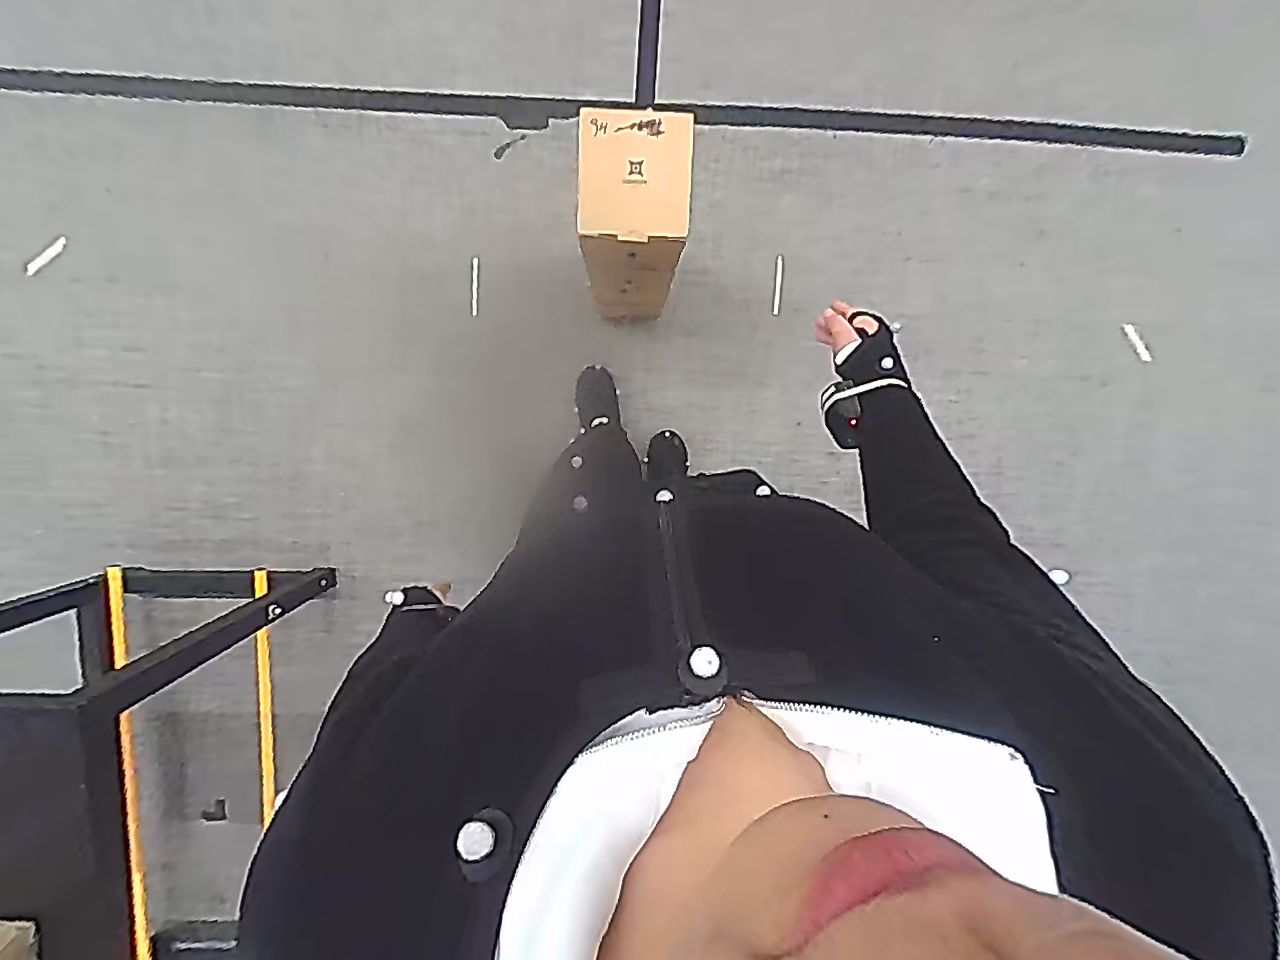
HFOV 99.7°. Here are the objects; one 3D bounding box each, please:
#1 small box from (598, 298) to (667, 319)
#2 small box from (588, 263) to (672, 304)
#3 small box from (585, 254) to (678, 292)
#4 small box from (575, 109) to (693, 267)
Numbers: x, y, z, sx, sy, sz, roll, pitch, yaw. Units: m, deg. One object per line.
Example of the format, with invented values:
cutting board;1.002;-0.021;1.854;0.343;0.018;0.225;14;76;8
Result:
small box;-0.023;-0.507;1.345;0.168;0.176;0.179;-3;98;0
small box;-0.019;-0.487;1.182;0.179;0.176;0.168;1;97;-2
small box;-0.011;-0.469;1.018;0.168;0.176;0.179;5;97;-2
small box;-0.010;-0.447;0.856;0.168;0.176;0.179;2;98;-1
